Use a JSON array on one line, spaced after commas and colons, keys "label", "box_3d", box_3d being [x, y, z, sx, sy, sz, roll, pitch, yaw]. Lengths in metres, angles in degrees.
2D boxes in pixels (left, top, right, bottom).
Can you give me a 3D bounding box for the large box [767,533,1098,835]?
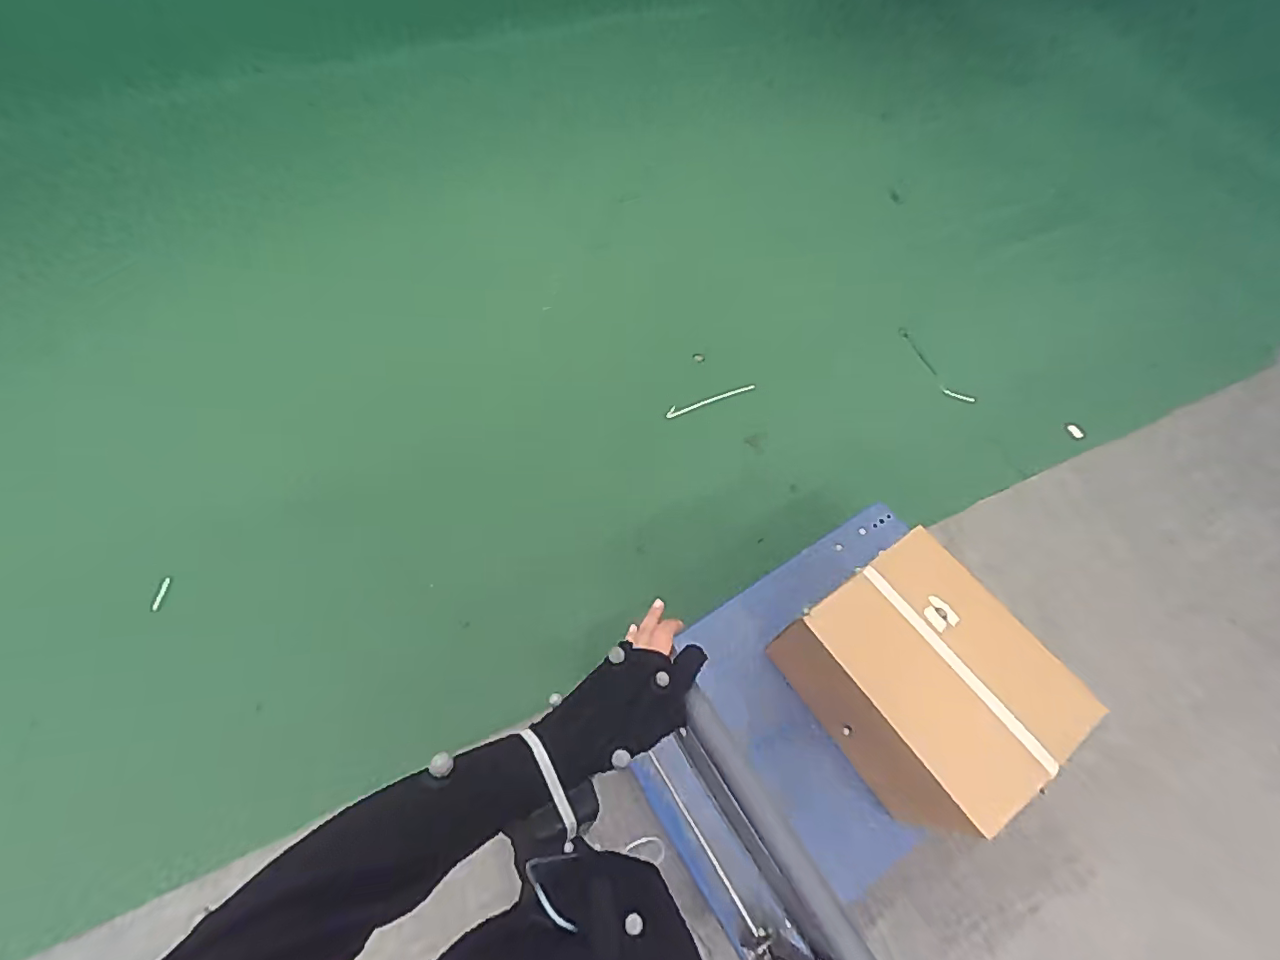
[{"label": "large box", "box_3d": [0.518, 0.387, 1.051, 0.320, 0.320, 0.408, -31, 65, -17]}]
